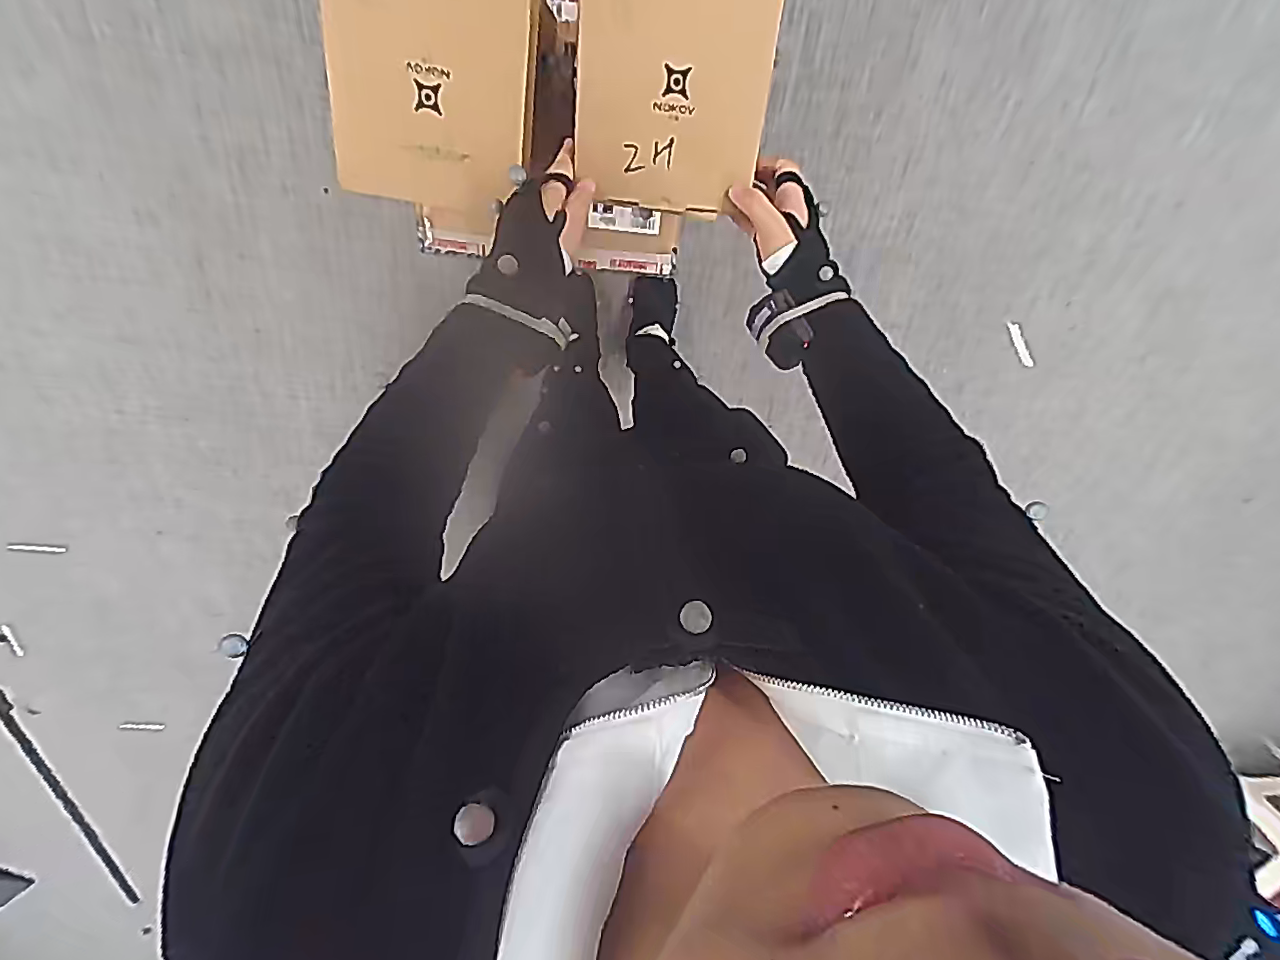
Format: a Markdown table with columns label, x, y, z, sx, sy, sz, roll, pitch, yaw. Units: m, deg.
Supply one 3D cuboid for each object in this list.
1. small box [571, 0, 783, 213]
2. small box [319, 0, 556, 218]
| label | x | y | z | sx | sy | sz | roll | pitch | yaw |
| --- | --- | --- | --- | --- | --- | --- | --- | --- | --- |
| small box | 0.020 | -0.368 | 0.525 | 0.168 | 0.176 | 0.179 | 2 | 119 | -8 |
| small box | -0.176 | -0.369 | 0.517 | 0.168 | 0.176 | 0.179 | 8 | 122 | -4 |
